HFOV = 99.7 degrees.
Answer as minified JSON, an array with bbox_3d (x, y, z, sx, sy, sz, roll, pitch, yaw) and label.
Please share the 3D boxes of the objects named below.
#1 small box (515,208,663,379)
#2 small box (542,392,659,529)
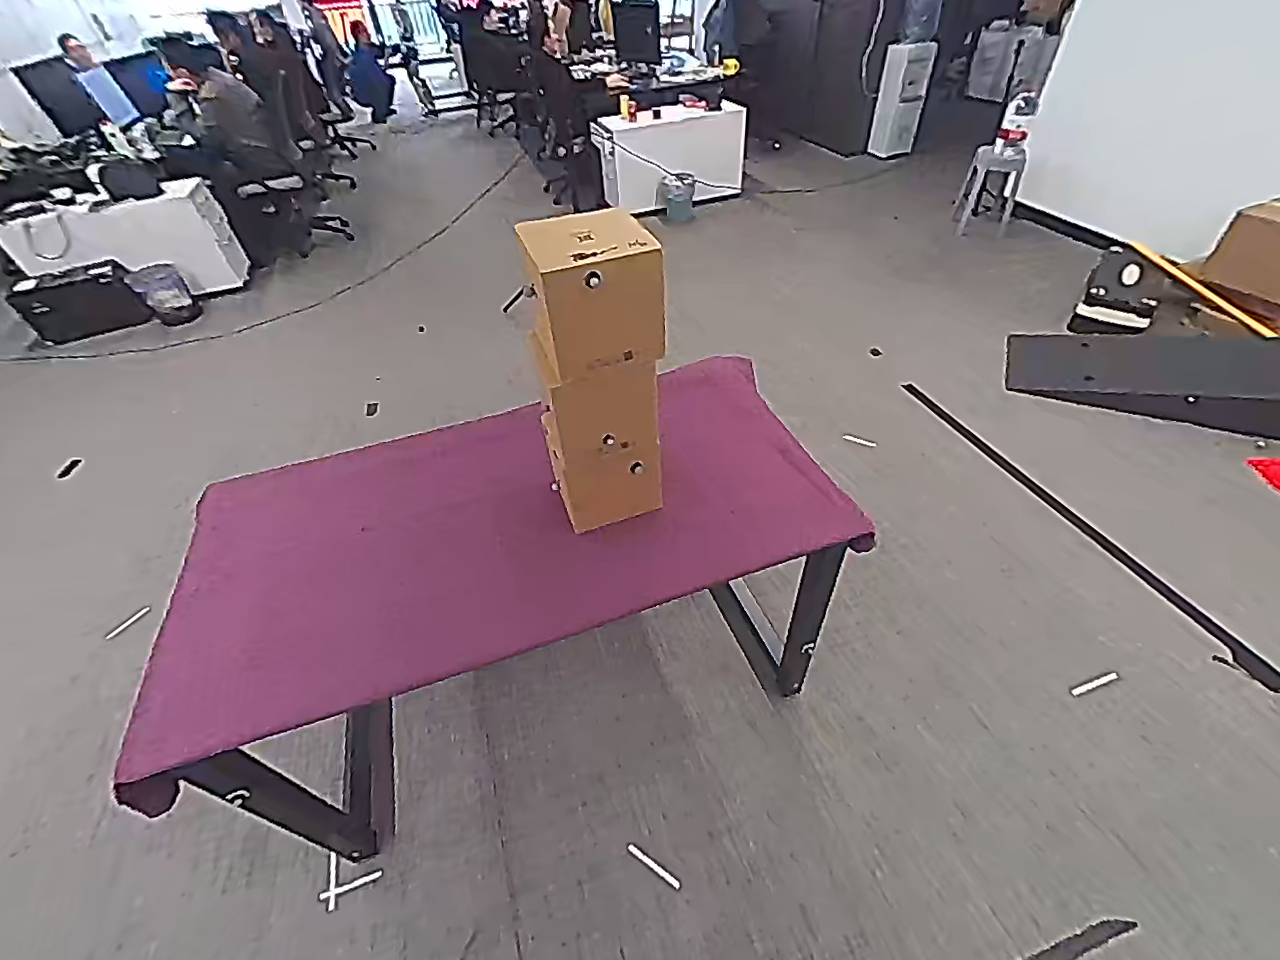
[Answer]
[{"bbox_3d":[-0.073,-0.273,0.792,0.168,0.176,0.179,-17,46,-12],"label":"small box"},{"bbox_3d":[-0.071,-0.036,1.019,0.179,0.176,0.168,-17,45,-11],"label":"small box"}]
